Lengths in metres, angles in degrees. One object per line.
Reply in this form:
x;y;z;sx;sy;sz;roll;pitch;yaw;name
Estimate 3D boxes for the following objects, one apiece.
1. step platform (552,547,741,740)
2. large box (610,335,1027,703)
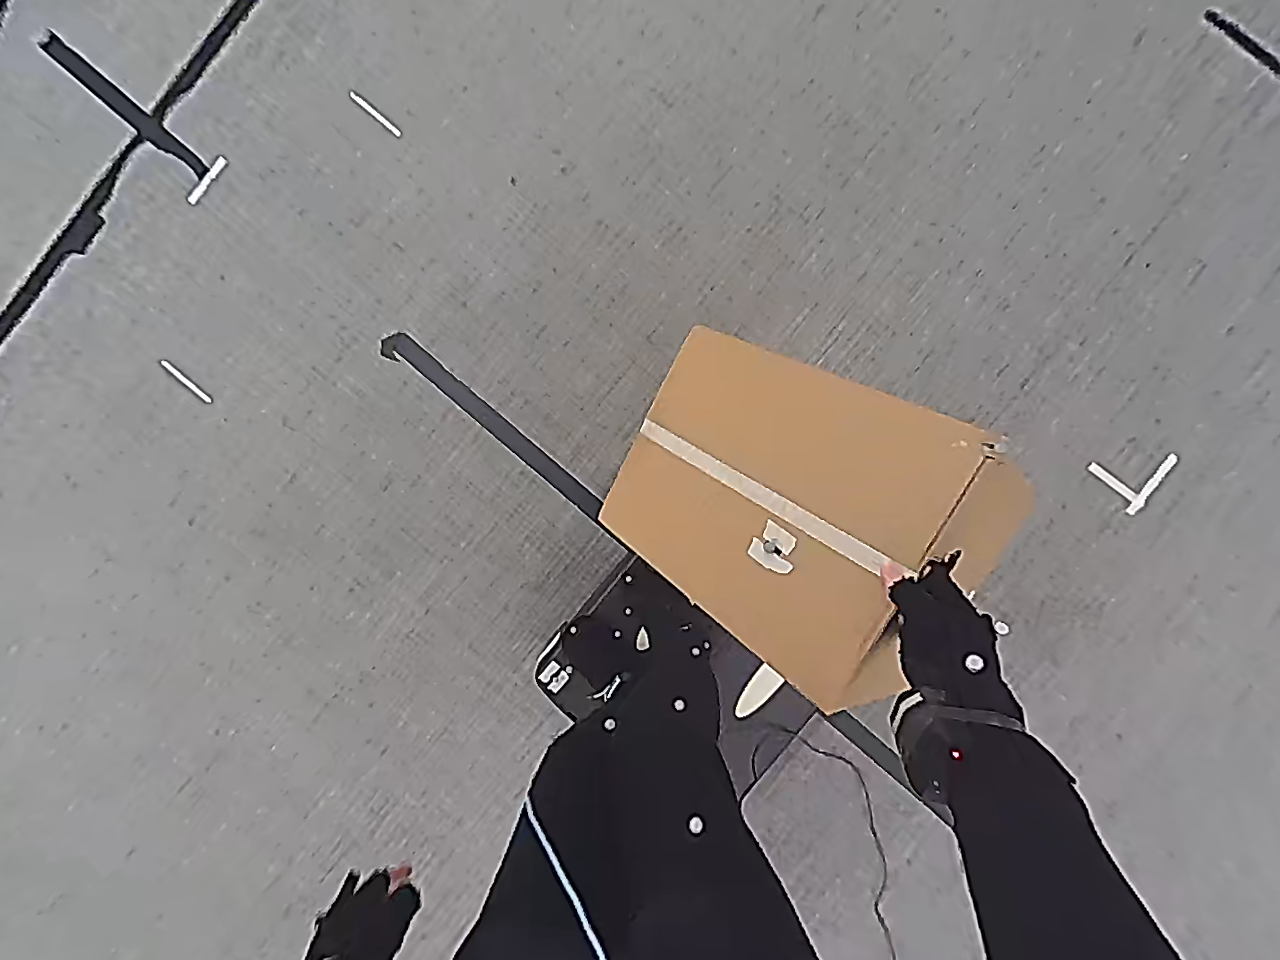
0.104;0.233;1.226;0.286;0.204;0.684;38;91;1;step platform
0.239;0.041;0.765;0.408;0.320;0.320;35;103;40;large box
